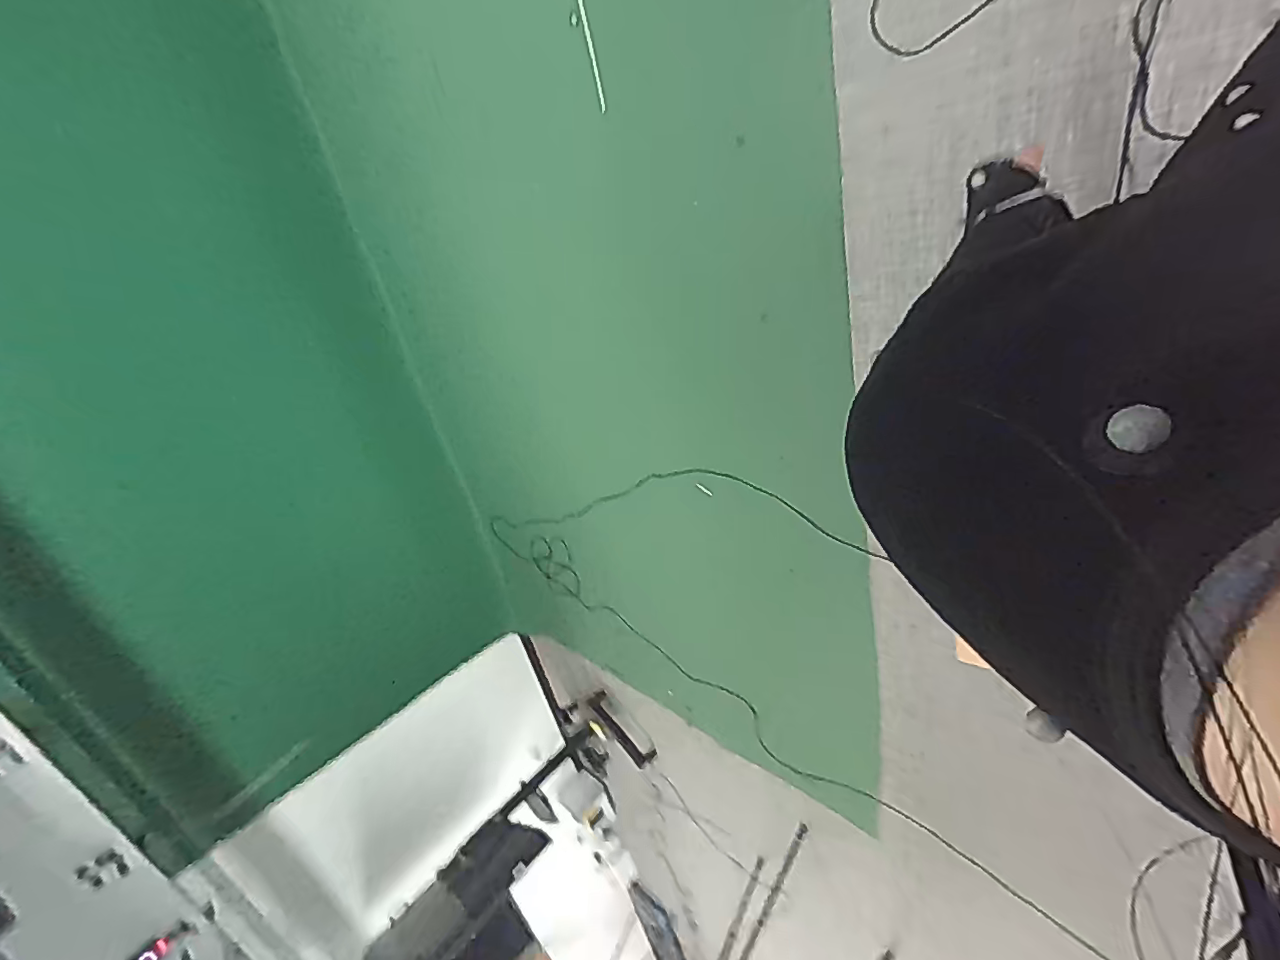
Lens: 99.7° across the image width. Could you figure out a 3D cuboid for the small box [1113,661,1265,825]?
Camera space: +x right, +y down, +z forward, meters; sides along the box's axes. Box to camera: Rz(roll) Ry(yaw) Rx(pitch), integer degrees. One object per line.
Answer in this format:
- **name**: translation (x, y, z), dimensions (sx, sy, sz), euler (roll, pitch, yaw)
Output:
- **small box**: translation (0.963, 0.445, 0.953), dimensions (0.179, 0.176, 0.168), euler (2, 113, 47)
